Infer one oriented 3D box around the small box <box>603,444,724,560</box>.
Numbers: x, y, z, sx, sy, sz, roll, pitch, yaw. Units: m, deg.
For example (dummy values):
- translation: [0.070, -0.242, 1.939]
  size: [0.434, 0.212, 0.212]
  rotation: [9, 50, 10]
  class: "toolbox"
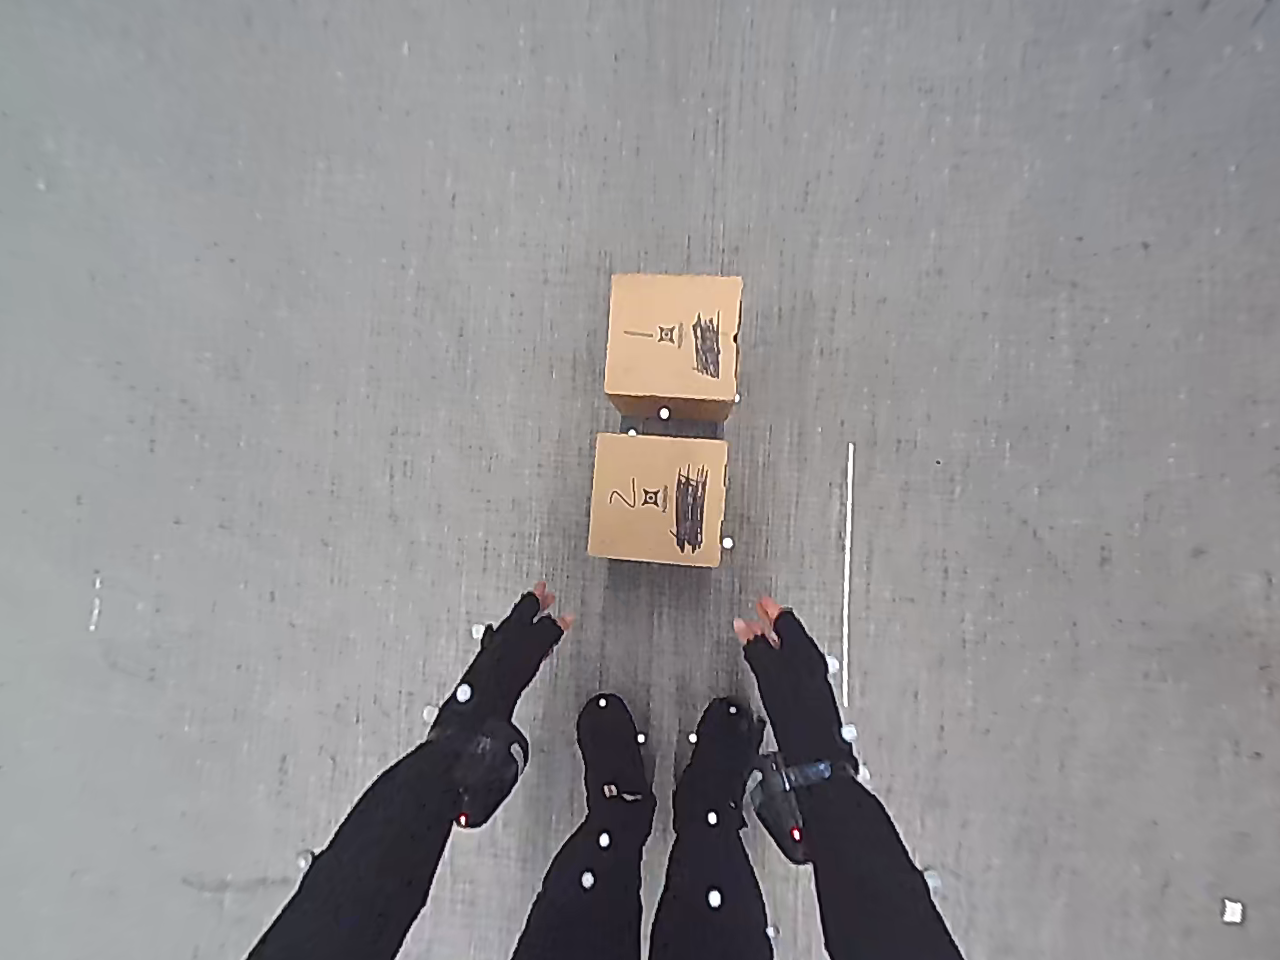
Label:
- translation: [0.046, 0.038, 0.941]
  size: [0.179, 0.176, 0.168]
  rotation: [8, 88, 6]
  class: "small box"
